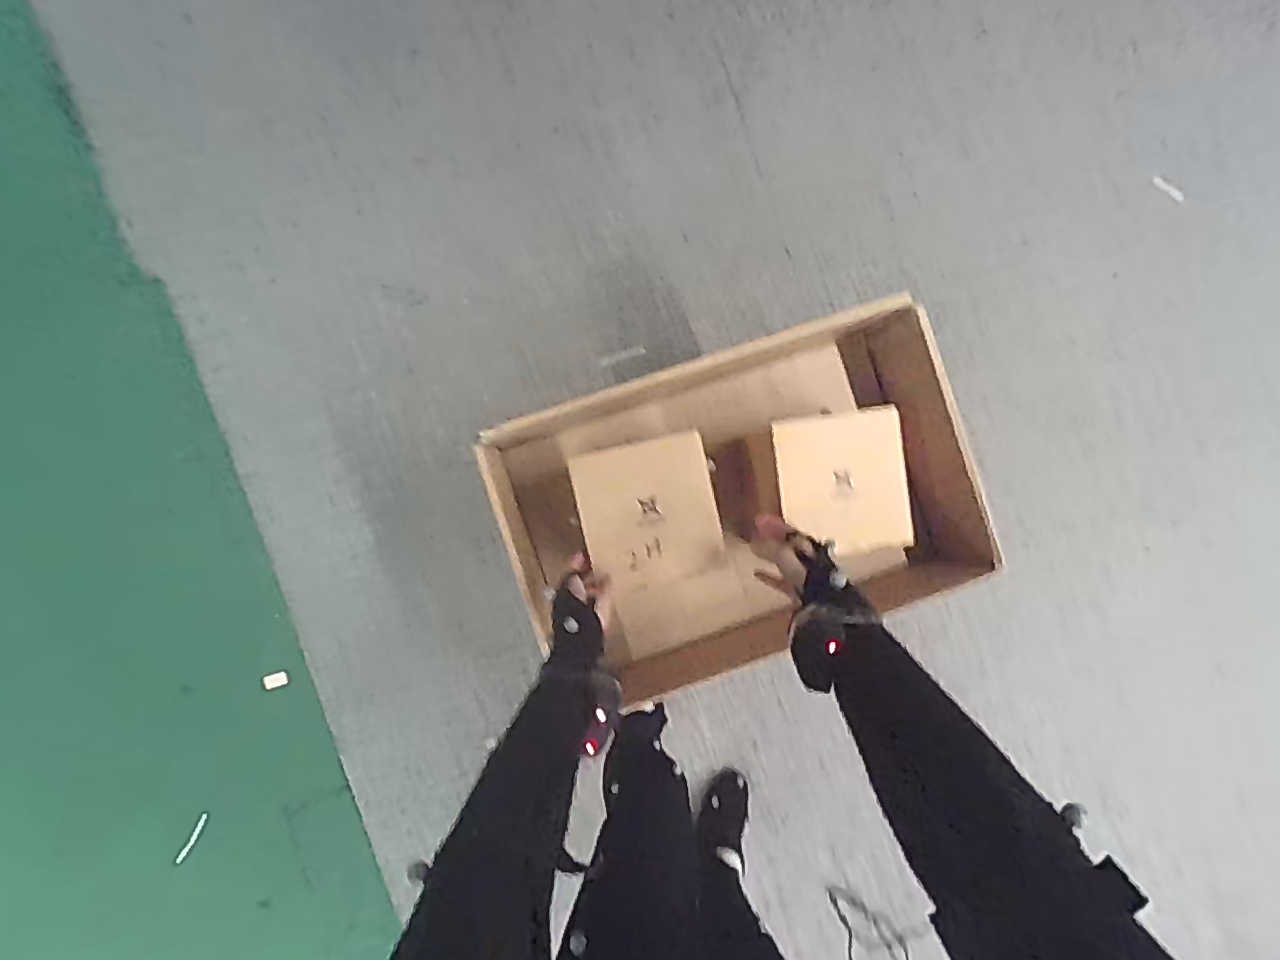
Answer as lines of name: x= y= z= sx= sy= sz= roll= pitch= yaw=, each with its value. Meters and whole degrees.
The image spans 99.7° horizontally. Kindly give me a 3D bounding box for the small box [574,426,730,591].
small box: x=0.009 y=0.035 z=0.731 sx=0.168 sy=0.176 sz=0.179 roll=-12 pitch=91 yaw=-4
